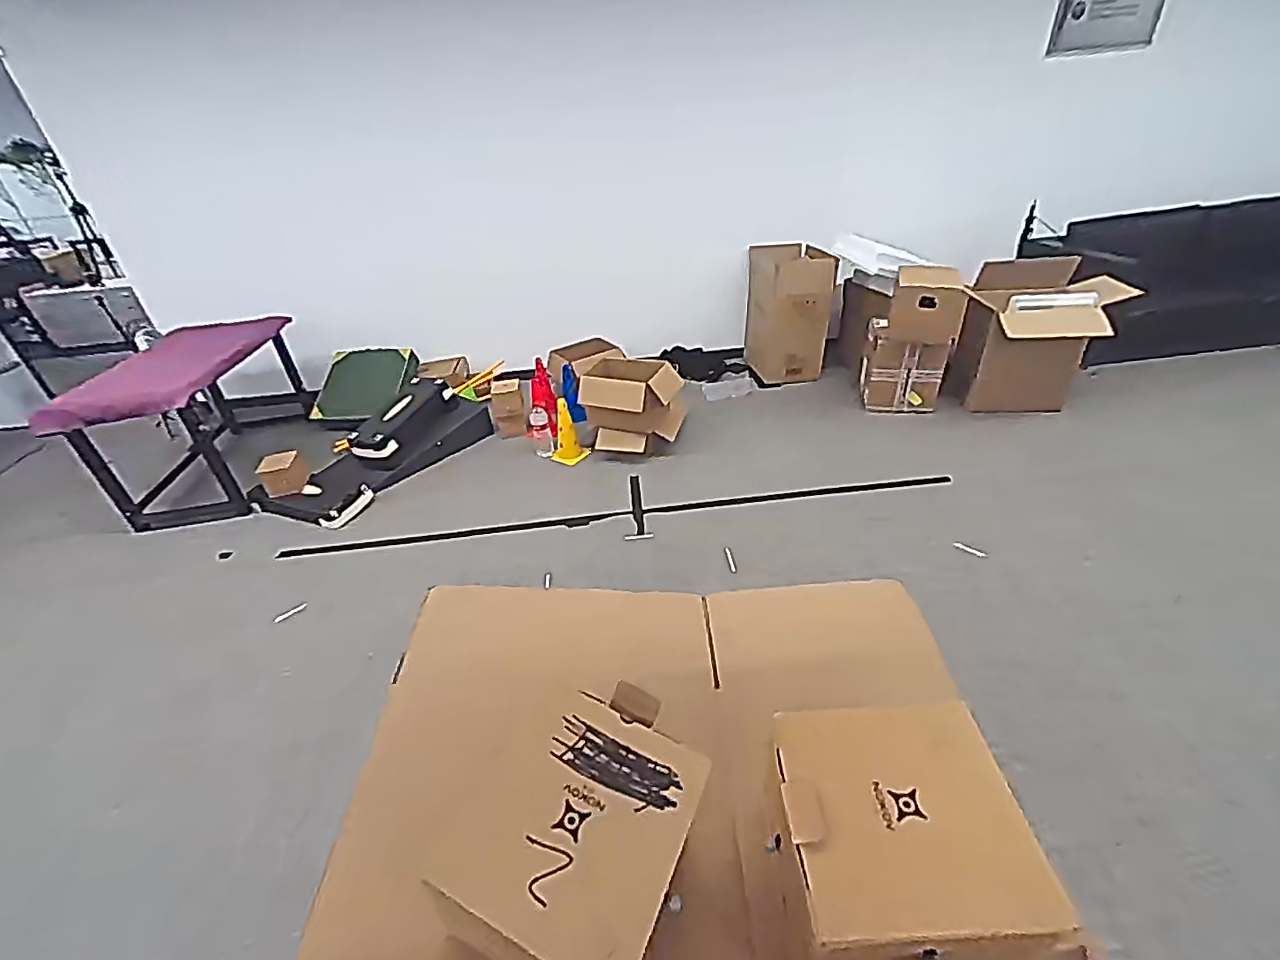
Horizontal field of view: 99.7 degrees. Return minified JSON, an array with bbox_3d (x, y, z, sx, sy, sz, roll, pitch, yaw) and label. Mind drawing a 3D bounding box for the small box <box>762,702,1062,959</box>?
[{"bbox_3d":[0.215,0.325,0.490,0.179,0.176,0.168,-6,38,3],"label":"small box"}]
